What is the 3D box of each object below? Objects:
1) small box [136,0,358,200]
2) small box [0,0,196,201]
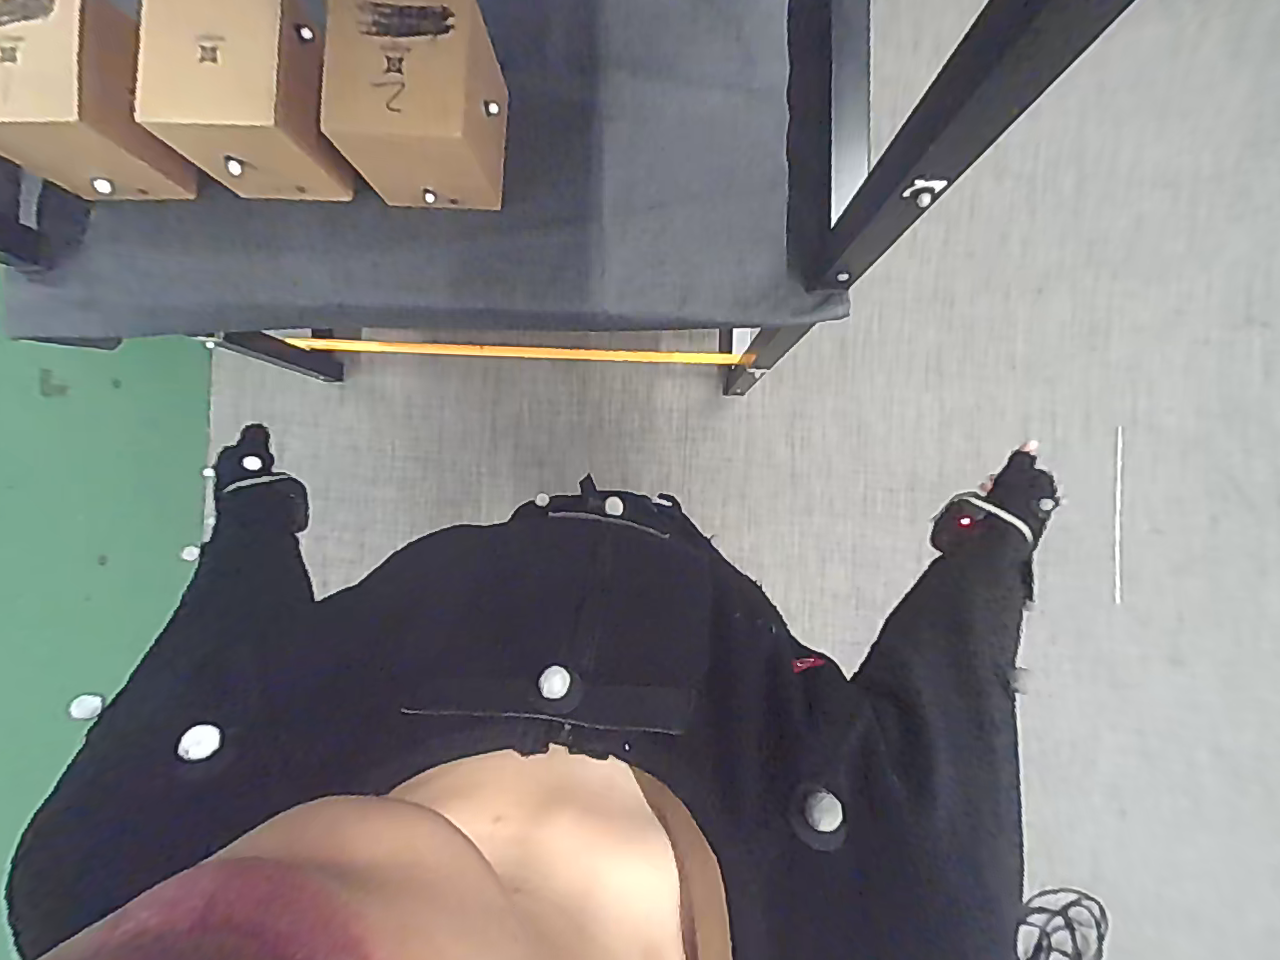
[{"bbox_3d":[-0.490,-0.489,0.699,0.168,0.176,0.179,2,88,0],"label":"small box"},{"bbox_3d":[-0.717,-0.492,0.699,0.168,0.176,0.179,0,89,1],"label":"small box"}]
